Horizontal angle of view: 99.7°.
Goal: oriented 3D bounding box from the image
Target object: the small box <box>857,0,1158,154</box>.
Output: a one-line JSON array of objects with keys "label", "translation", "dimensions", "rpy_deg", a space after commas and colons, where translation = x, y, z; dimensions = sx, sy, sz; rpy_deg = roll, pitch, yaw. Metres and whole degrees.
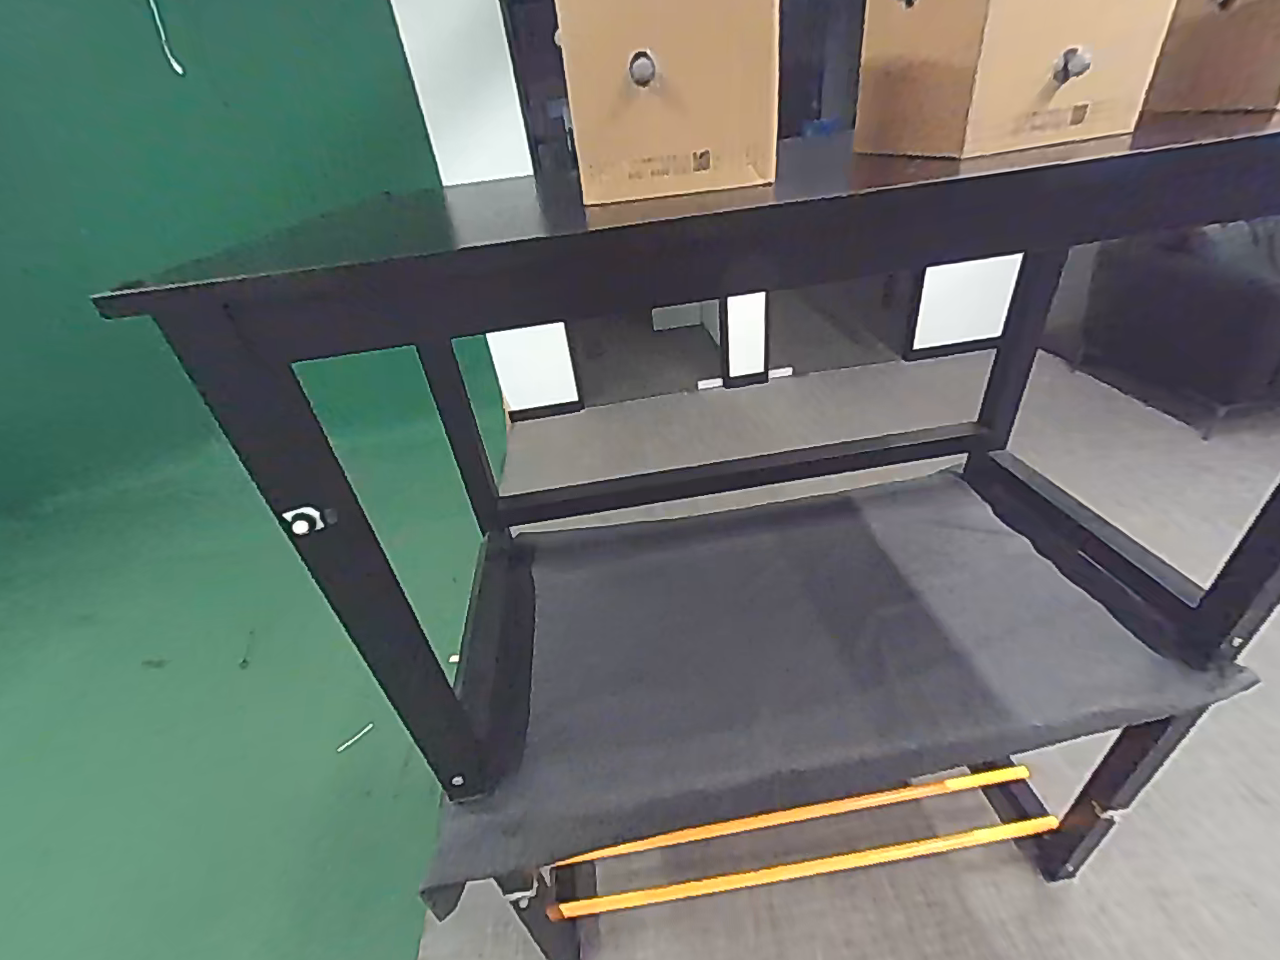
[{"label": "small box", "translation": [0.319, -0.404, 0.493], "dimensions": [0.168, 0.176, 0.179], "rpy_deg": [-12, 34, -5]}]

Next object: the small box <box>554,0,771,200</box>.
[{"label": "small box", "translation": [0.027, -0.366, 0.500], "dimensions": [0.168, 0.176, 0.179], "rpy_deg": [-4, 33, 5]}]
